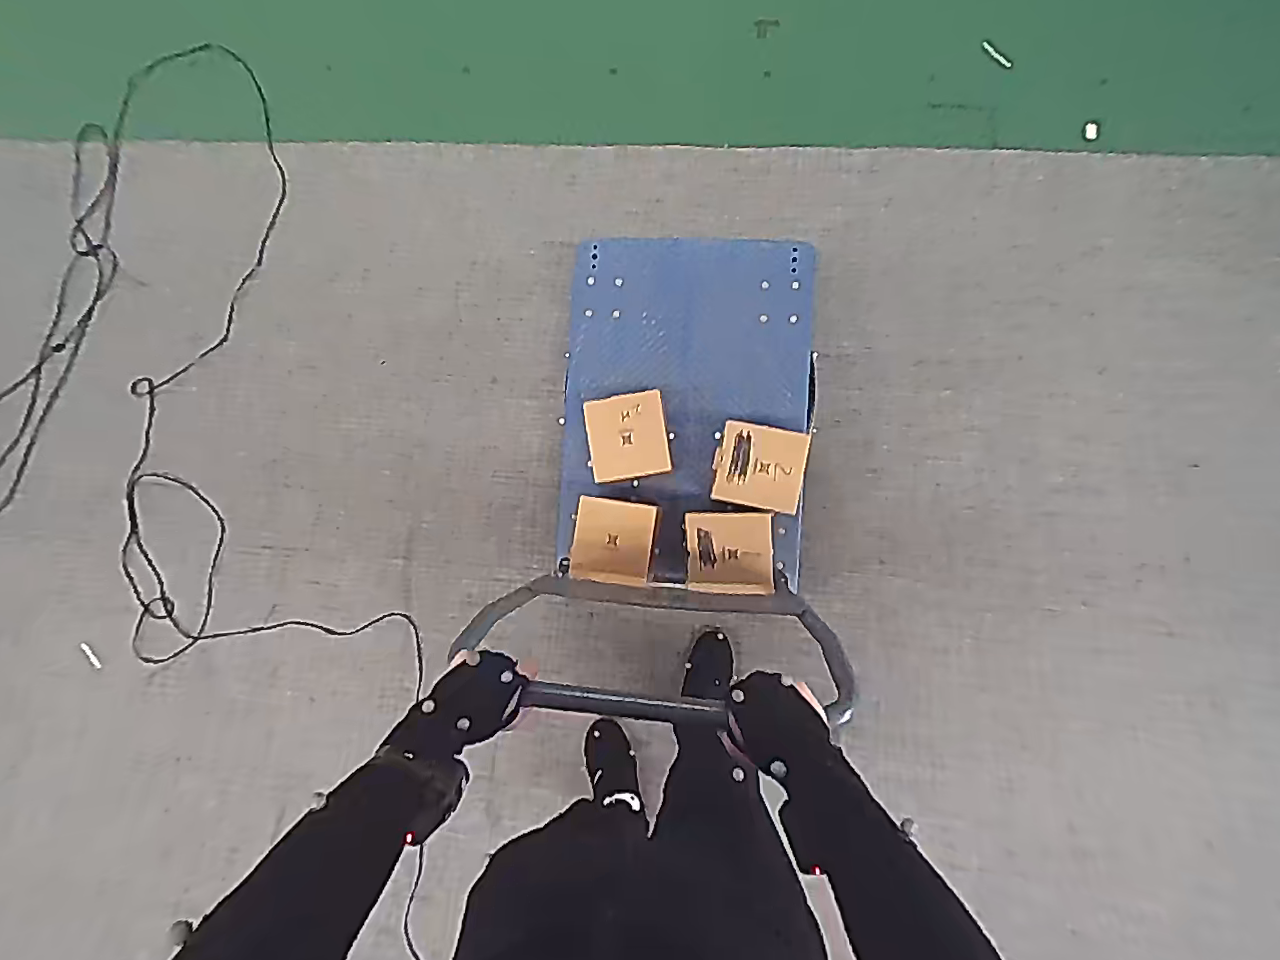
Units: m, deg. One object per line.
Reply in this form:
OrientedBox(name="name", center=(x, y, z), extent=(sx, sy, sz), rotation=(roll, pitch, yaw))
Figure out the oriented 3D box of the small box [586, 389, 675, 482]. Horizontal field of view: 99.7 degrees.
OrientedBox(name="small box", center=(-0.014, -0.091, 1.212), extent=(0.168, 0.176, 0.179), rotation=(-9, 86, 5))
